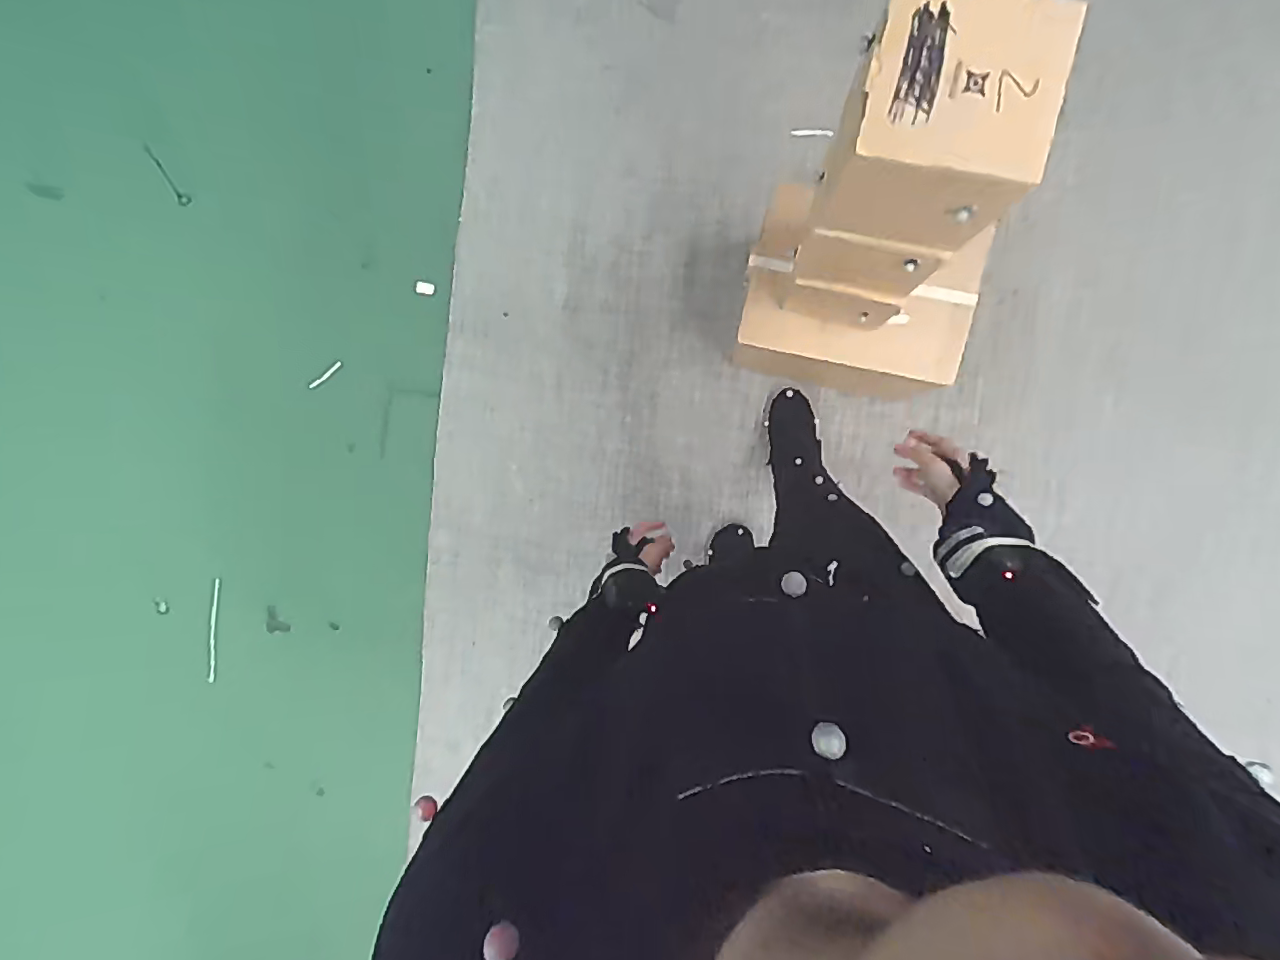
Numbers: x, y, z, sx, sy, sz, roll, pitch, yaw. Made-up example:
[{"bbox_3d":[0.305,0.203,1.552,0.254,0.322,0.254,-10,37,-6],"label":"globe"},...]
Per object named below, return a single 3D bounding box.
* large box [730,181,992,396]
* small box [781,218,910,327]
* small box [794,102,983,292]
[{"bbox_3d":[0.422,-0.377,1.142,0.408,0.320,0.320,13,96,6],"label":"large box"},{"bbox_3d":[0.349,-0.367,0.908,0.179,0.176,0.168,14,93,8],"label":"small box"},{"bbox_3d":[0.324,-0.376,0.747,0.179,0.176,0.168,13,93,6],"label":"small box"}]
